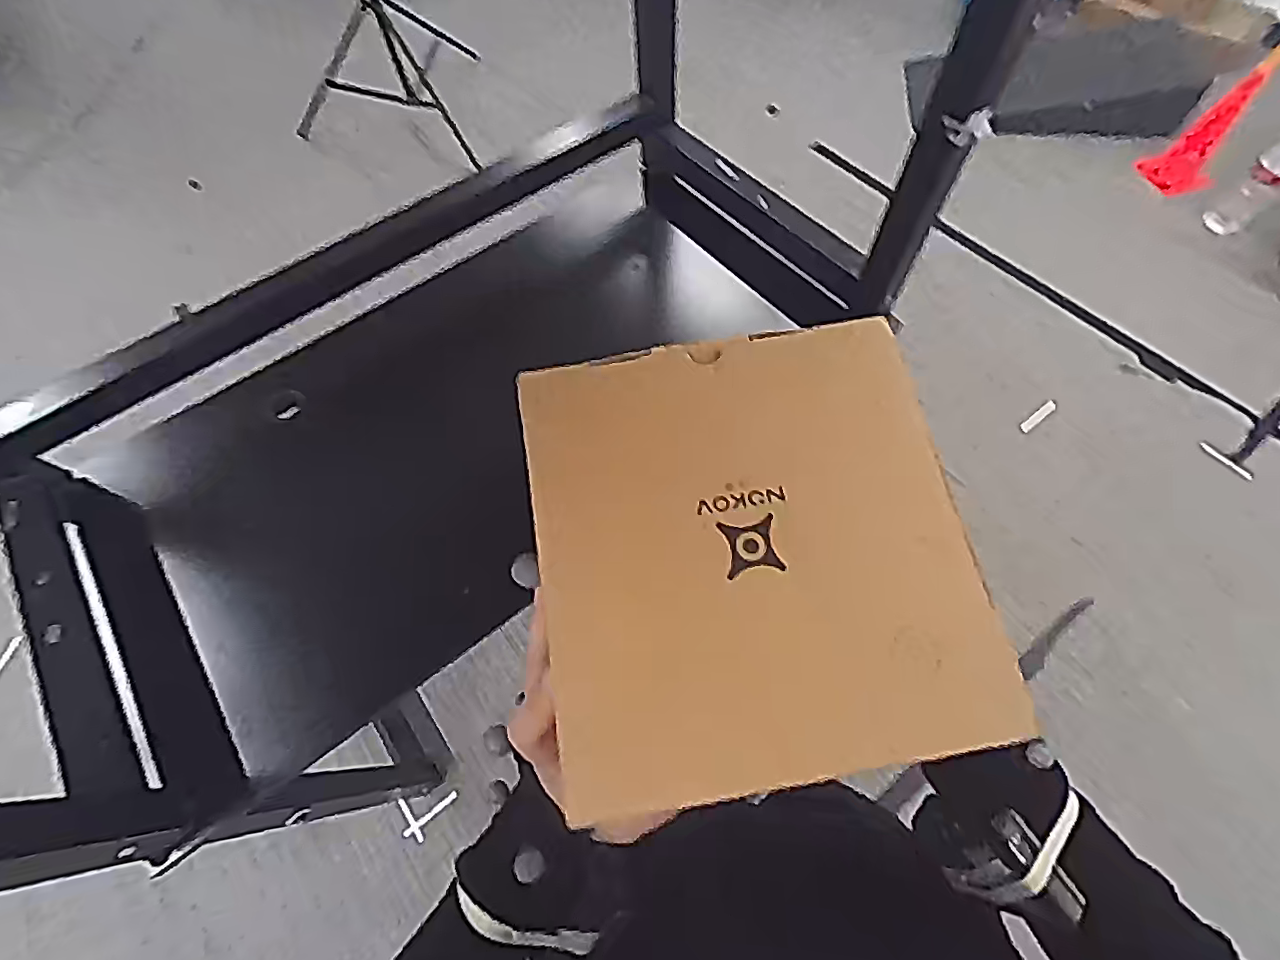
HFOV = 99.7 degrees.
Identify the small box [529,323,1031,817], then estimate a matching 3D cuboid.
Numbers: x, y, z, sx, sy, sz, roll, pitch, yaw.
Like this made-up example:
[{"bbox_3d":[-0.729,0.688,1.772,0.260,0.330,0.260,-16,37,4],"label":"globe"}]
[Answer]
[{"bbox_3d":[0.046,0.048,0.287,0.168,0.176,0.179,-9,70,-2],"label":"small box"}]
